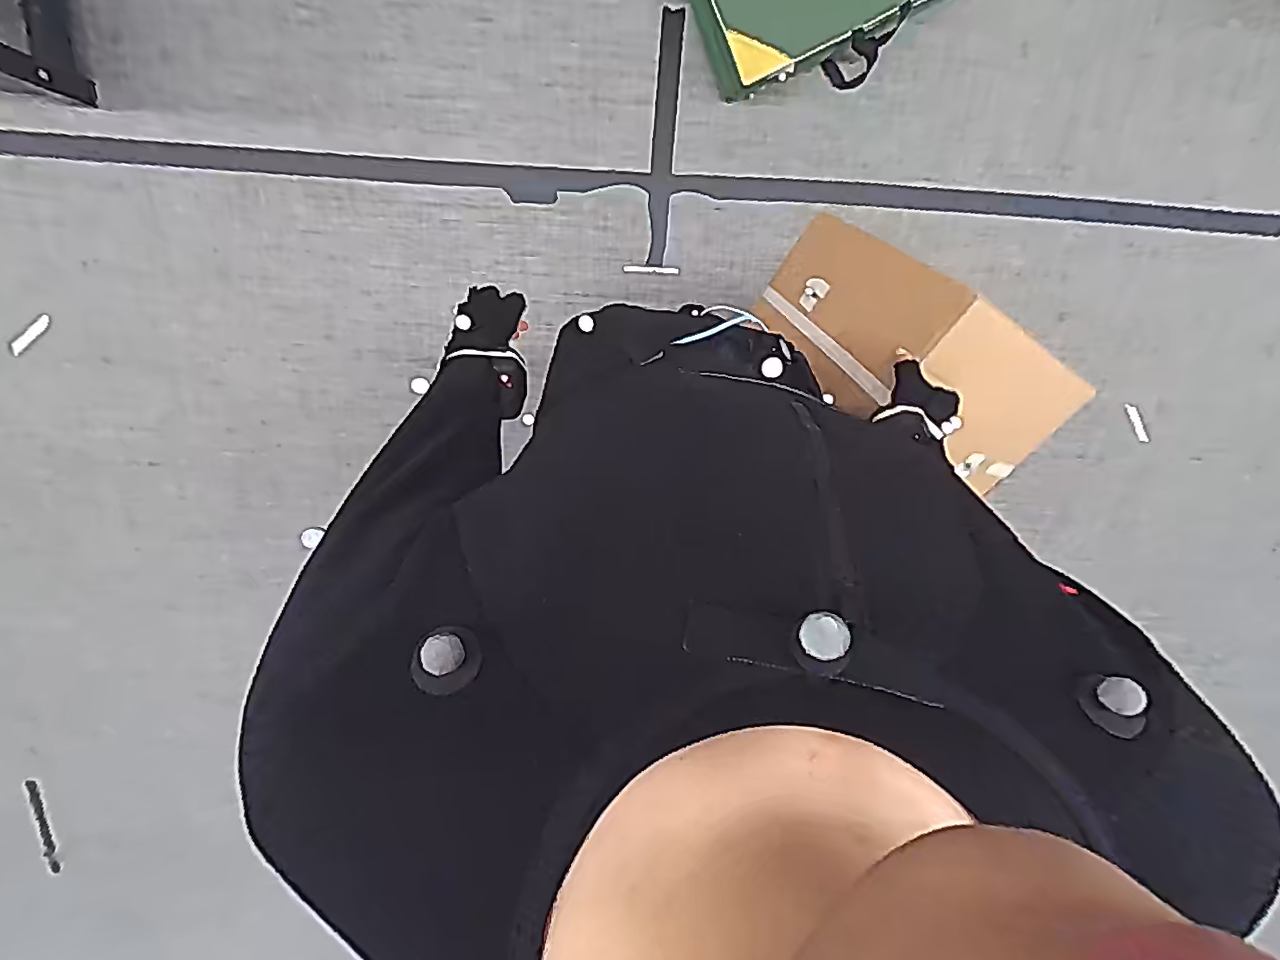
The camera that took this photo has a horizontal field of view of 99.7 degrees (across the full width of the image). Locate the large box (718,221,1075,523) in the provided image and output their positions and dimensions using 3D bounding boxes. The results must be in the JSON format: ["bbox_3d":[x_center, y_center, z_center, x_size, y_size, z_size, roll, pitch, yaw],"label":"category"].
[{"bbox_3d":[0.397,-0.189,0.934,0.320,0.408,0.320,18,121,-27],"label":"large box"}]
